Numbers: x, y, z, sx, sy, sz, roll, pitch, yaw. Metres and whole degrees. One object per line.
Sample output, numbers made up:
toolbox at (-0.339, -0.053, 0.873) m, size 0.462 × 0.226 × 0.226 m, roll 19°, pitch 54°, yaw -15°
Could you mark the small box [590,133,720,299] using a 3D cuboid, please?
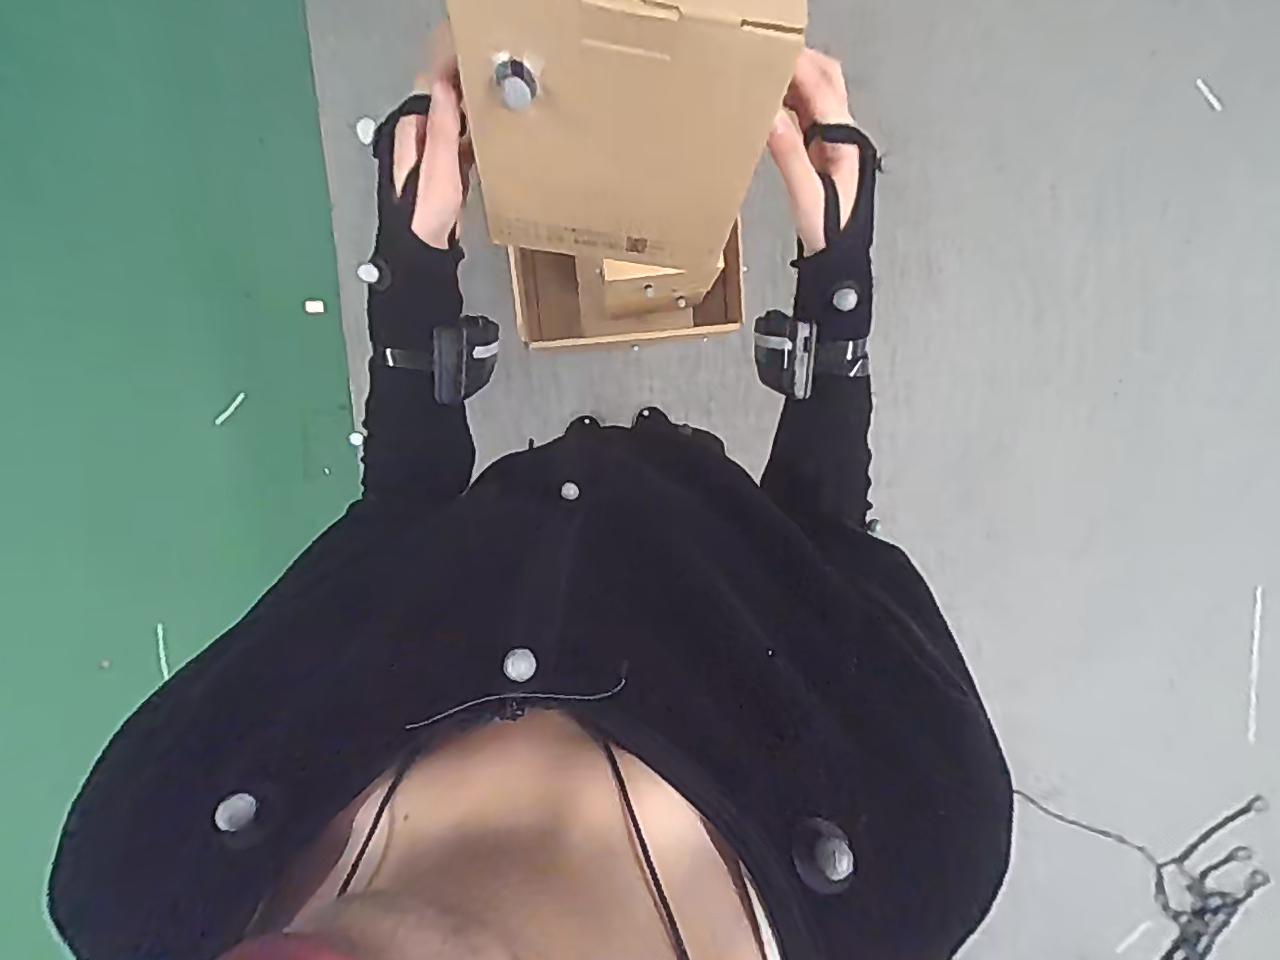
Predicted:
small box at (0.023, -0.376, 0.804) m, size 0.168 × 0.176 × 0.179 m, roll -6°, pitch 97°, yaw 1°
